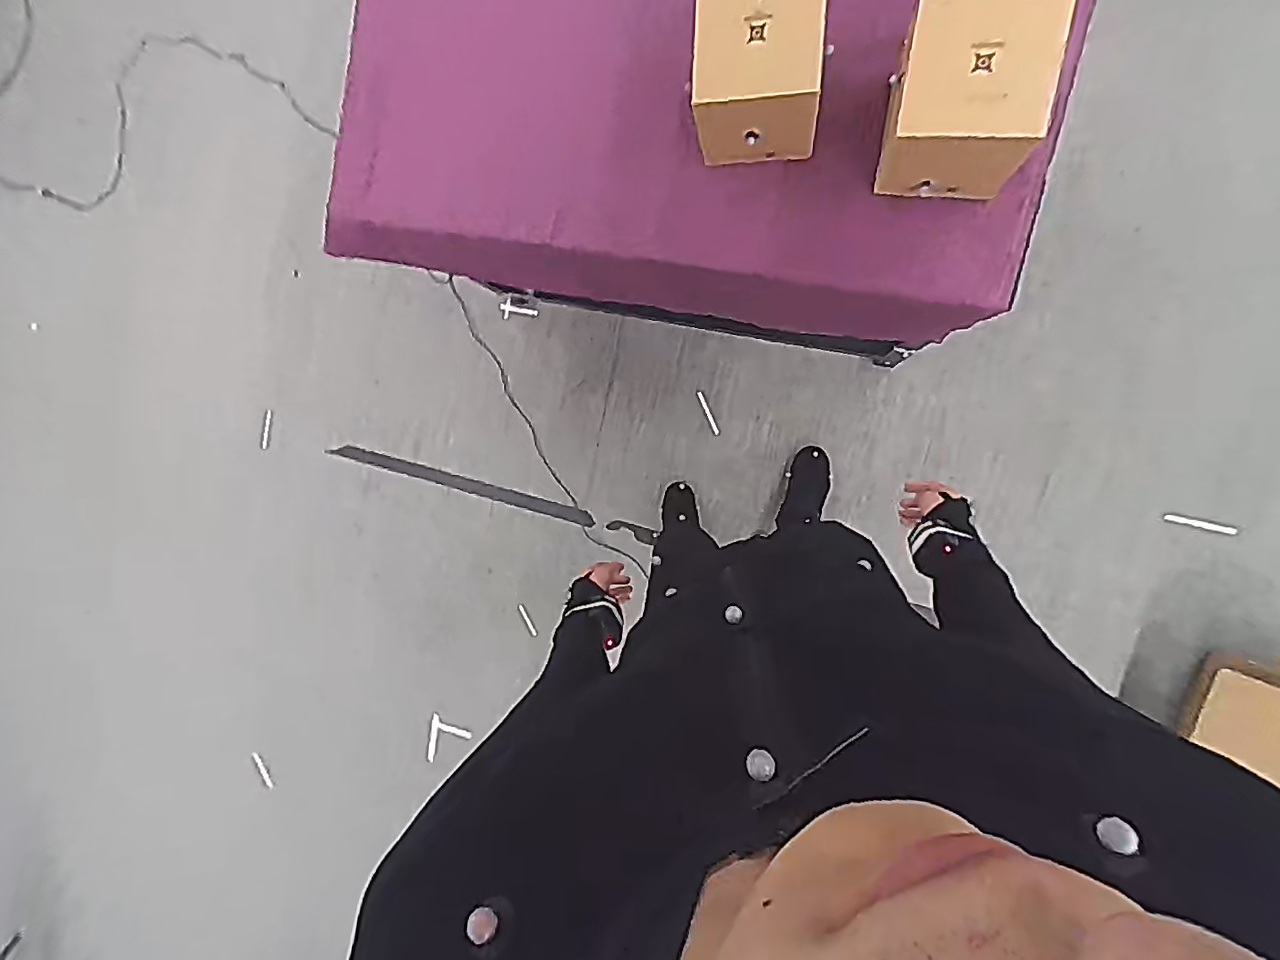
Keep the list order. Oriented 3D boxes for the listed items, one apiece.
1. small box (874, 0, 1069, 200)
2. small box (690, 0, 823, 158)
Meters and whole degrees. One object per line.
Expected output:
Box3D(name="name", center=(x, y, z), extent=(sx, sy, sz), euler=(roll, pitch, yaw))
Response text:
Box3D(name="small box", center=(0.422, -0.504, 0.720), extent=(0.168, 0.176, 0.179), euler=(10, 95, 14))
Box3D(name="small box", center=(0.169, -0.587, 0.774), extent=(0.168, 0.176, 0.179), euler=(4, 94, 13))
